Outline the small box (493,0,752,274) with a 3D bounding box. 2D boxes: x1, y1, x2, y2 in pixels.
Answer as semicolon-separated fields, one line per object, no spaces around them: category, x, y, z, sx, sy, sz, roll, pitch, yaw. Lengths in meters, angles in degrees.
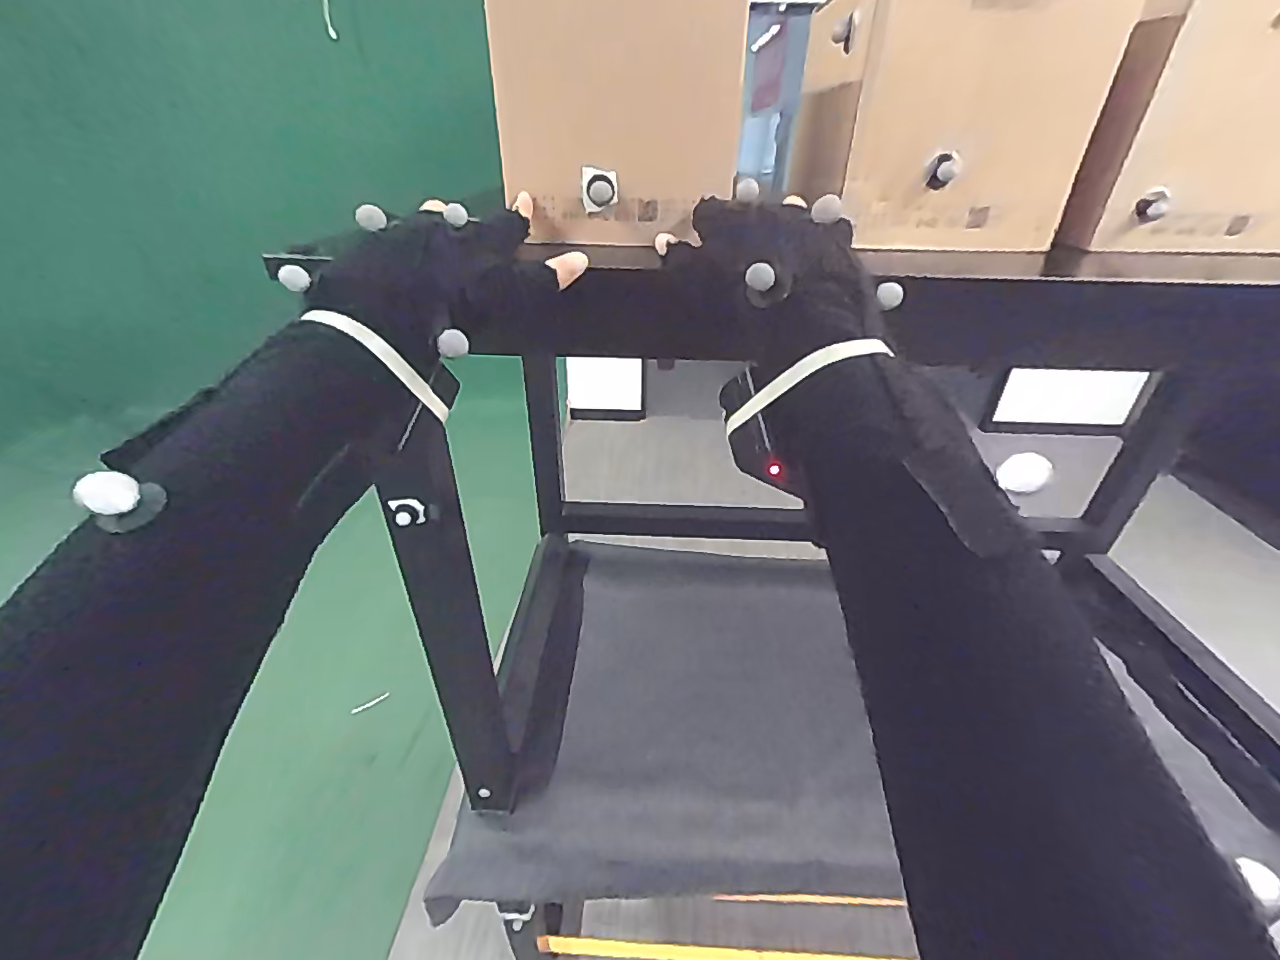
small box;-0.012;-0.277;0.443;0.168;0.176;0.179;0;33;0
